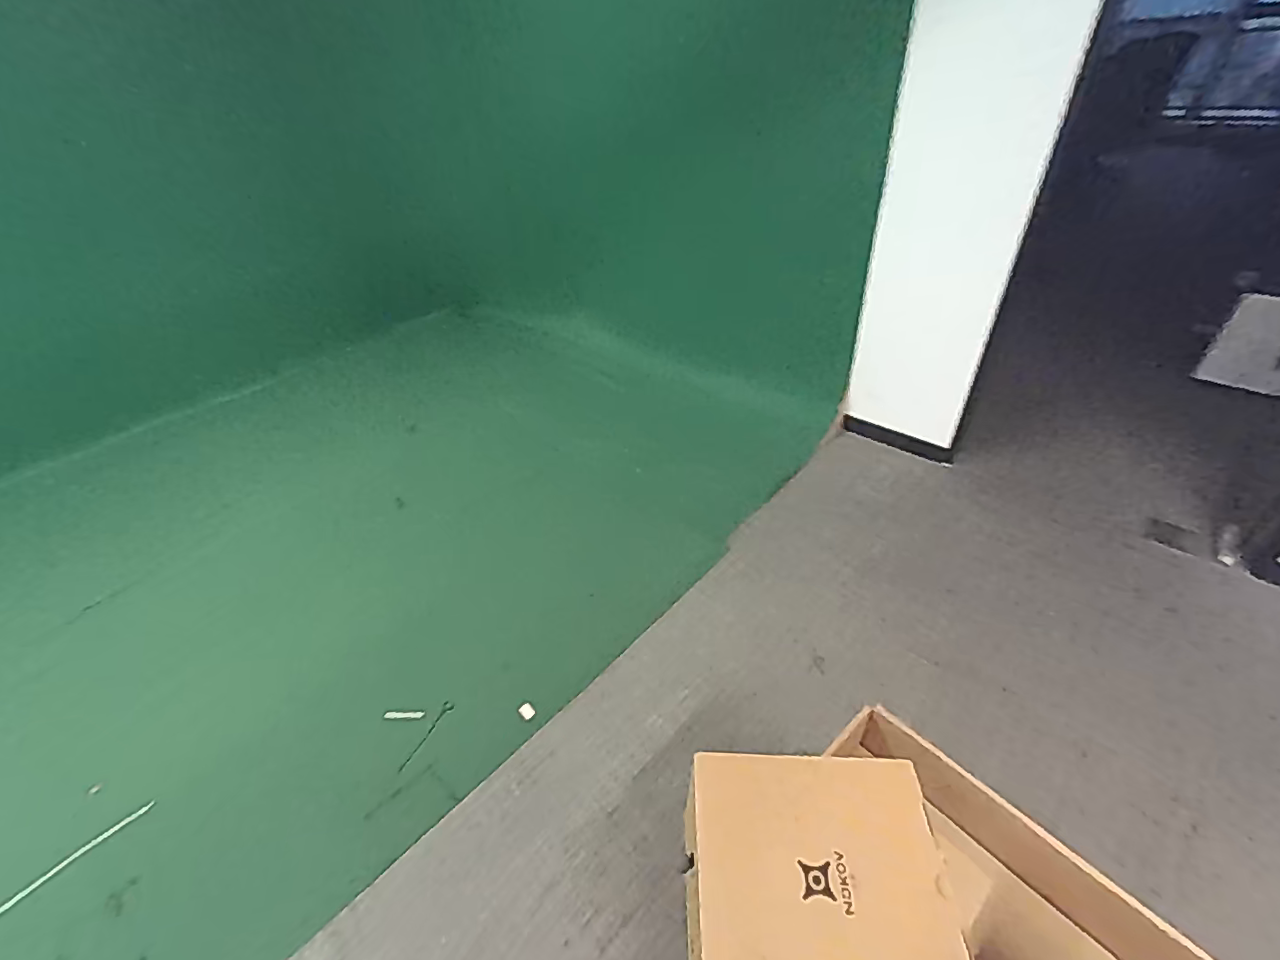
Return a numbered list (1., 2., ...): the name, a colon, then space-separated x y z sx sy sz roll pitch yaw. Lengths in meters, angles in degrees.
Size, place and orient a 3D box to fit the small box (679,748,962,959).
1. small box: 0.120 0.333 0.431 0.179 0.176 0.168 2 44 1
